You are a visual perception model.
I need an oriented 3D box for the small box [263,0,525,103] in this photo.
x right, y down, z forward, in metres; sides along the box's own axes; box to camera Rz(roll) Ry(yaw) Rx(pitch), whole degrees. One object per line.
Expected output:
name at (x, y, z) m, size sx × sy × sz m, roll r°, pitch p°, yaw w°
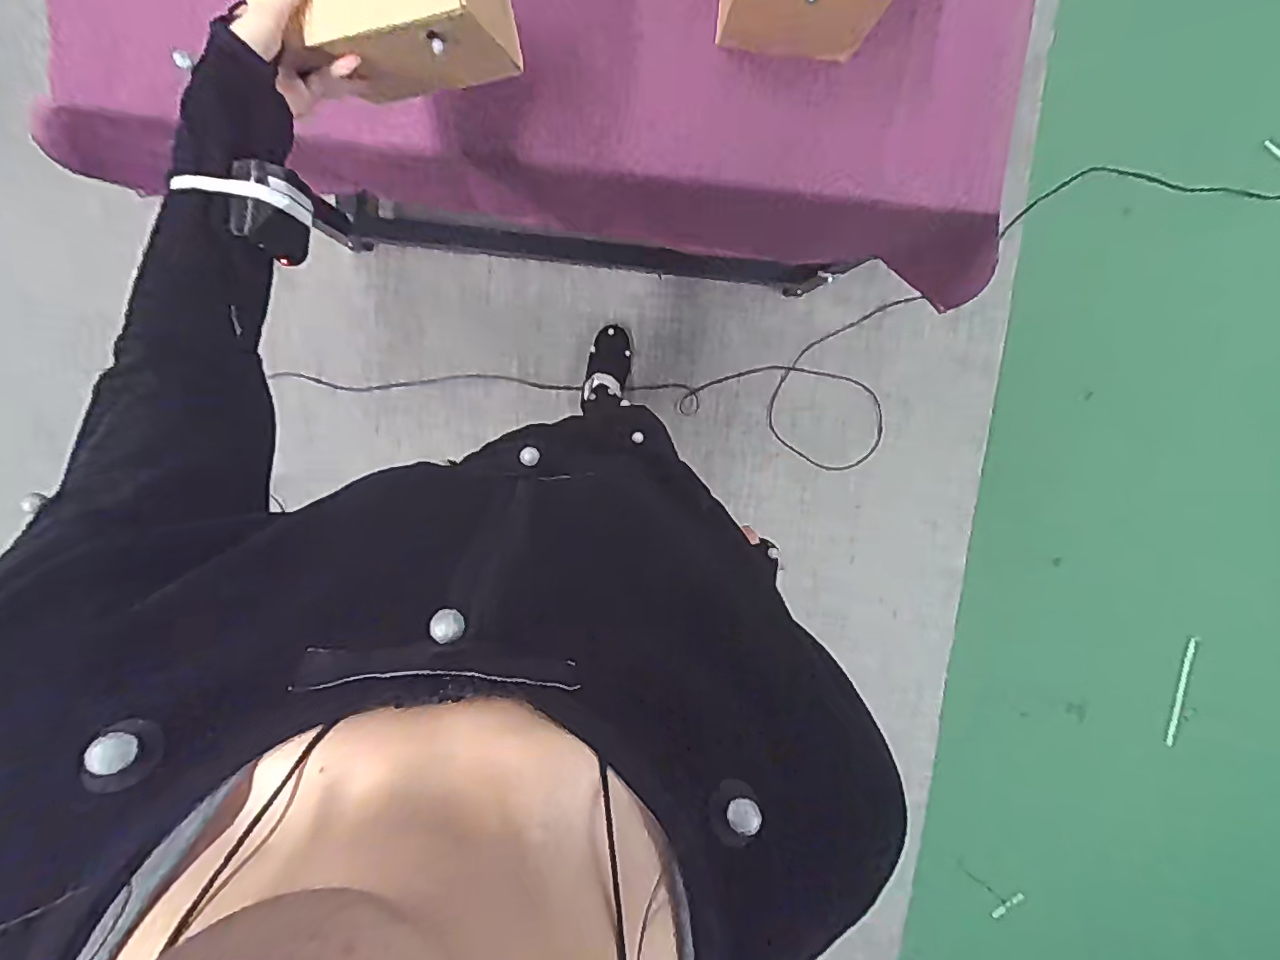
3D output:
small box at (-0.223, -0.469, 0.487) m, size 0.179 × 0.176 × 0.168 m, roll -8°, pitch 111°, yaw 6°

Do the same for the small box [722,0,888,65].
small box at (0.198, -0.609, 0.607) m, size 0.179 × 0.176 × 0.168 m, roll 5°, pitch 99°, yaw -4°
